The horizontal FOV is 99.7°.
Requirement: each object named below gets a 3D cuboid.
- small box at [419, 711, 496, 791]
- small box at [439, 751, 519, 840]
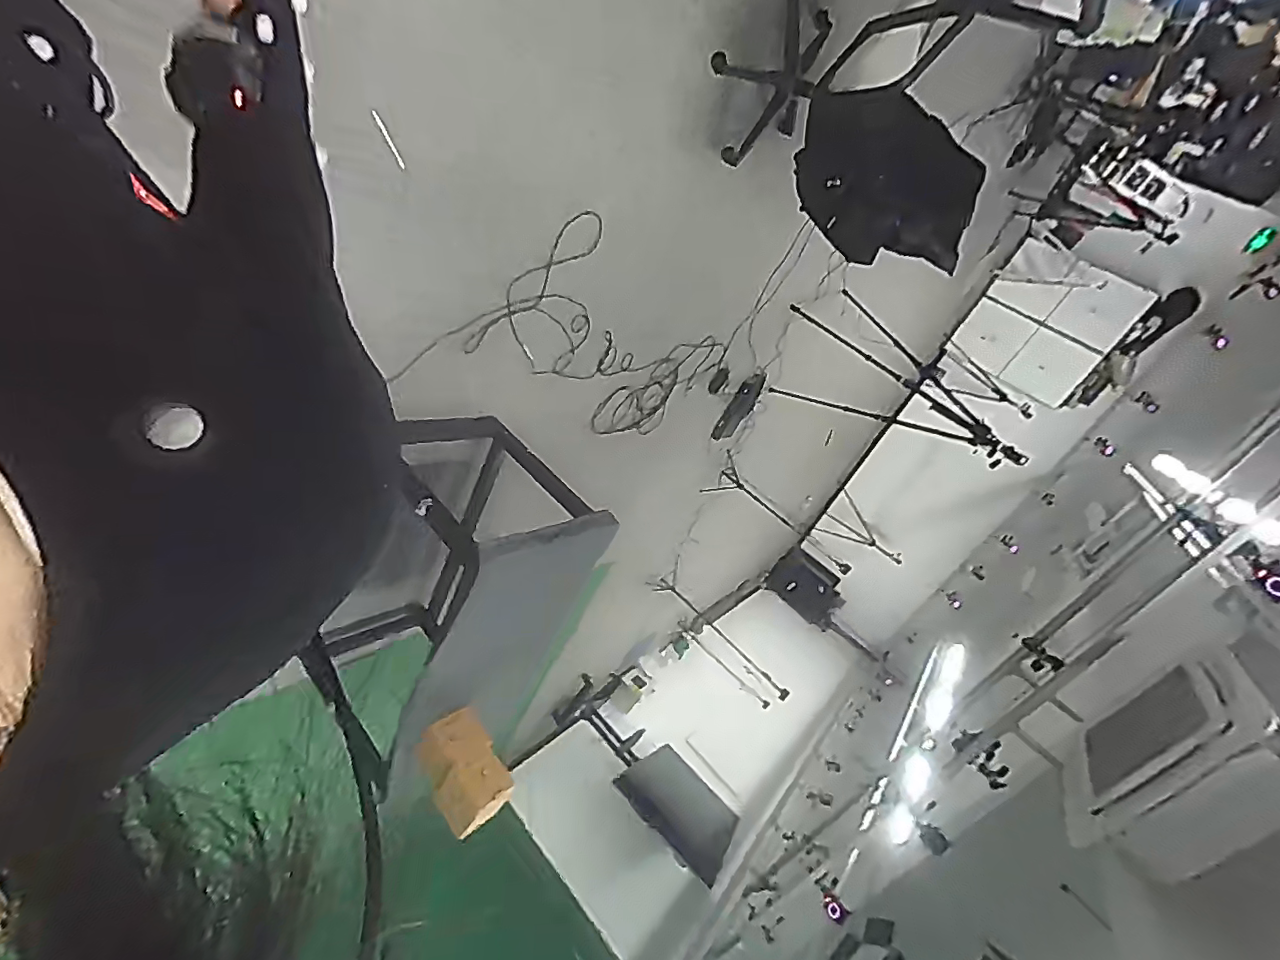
[{"bbox_3d":[-0.650,0.948,1.910,0.168,0.176,0.179,-8,134,-56],"label":"small box"},{"bbox_3d":[-0.550,1.057,1.836,0.168,0.176,0.179,-4,130,-58],"label":"small box"}]
